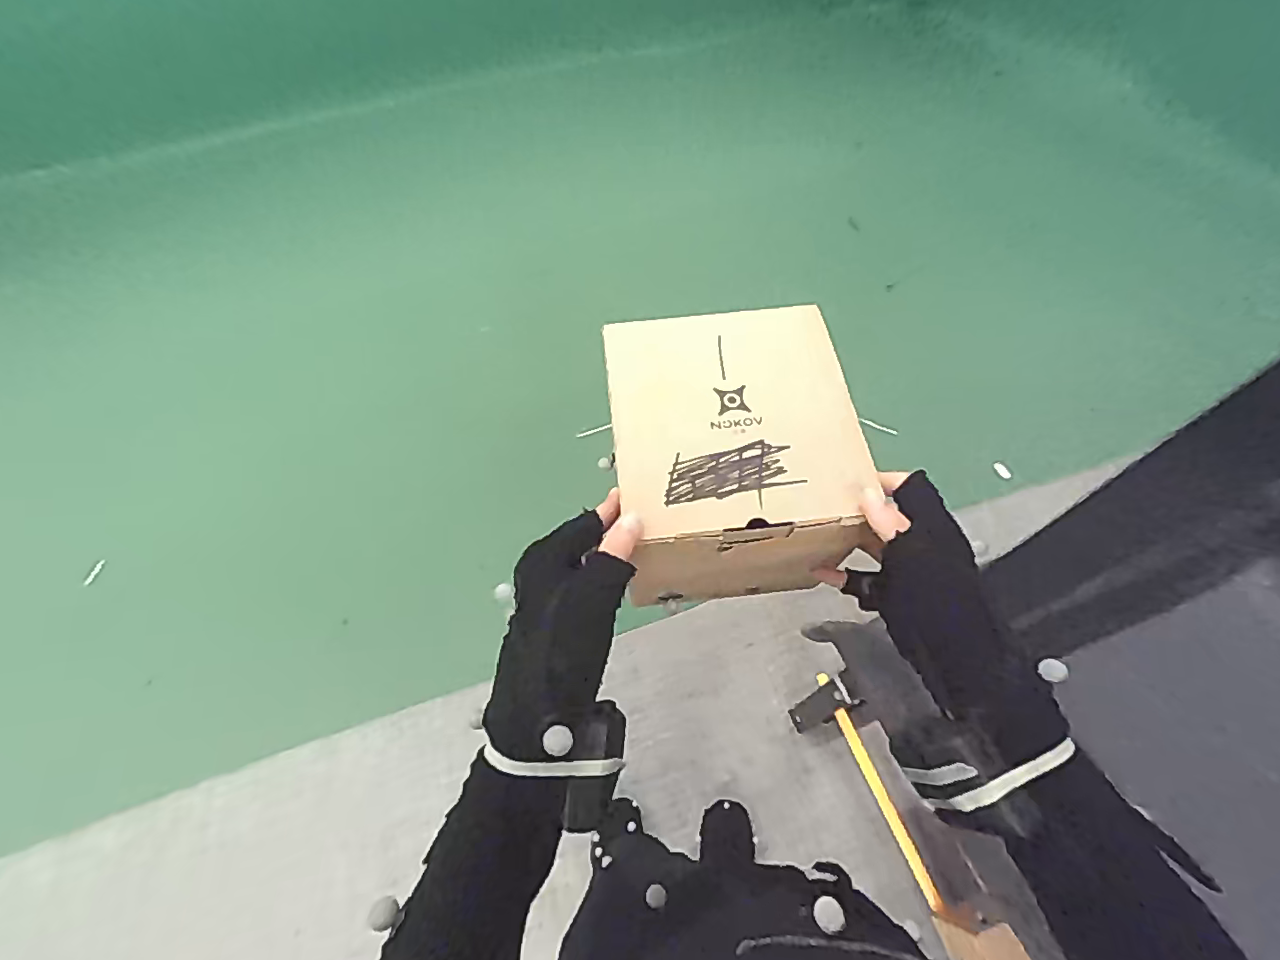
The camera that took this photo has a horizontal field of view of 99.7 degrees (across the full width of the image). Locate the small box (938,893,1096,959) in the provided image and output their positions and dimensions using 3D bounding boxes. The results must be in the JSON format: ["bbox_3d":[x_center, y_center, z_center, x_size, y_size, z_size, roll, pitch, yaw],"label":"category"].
[{"bbox_3d":[0.655,0.838,0.921,0.179,0.176,0.168,-18,60,-5],"label":"small box"}]
